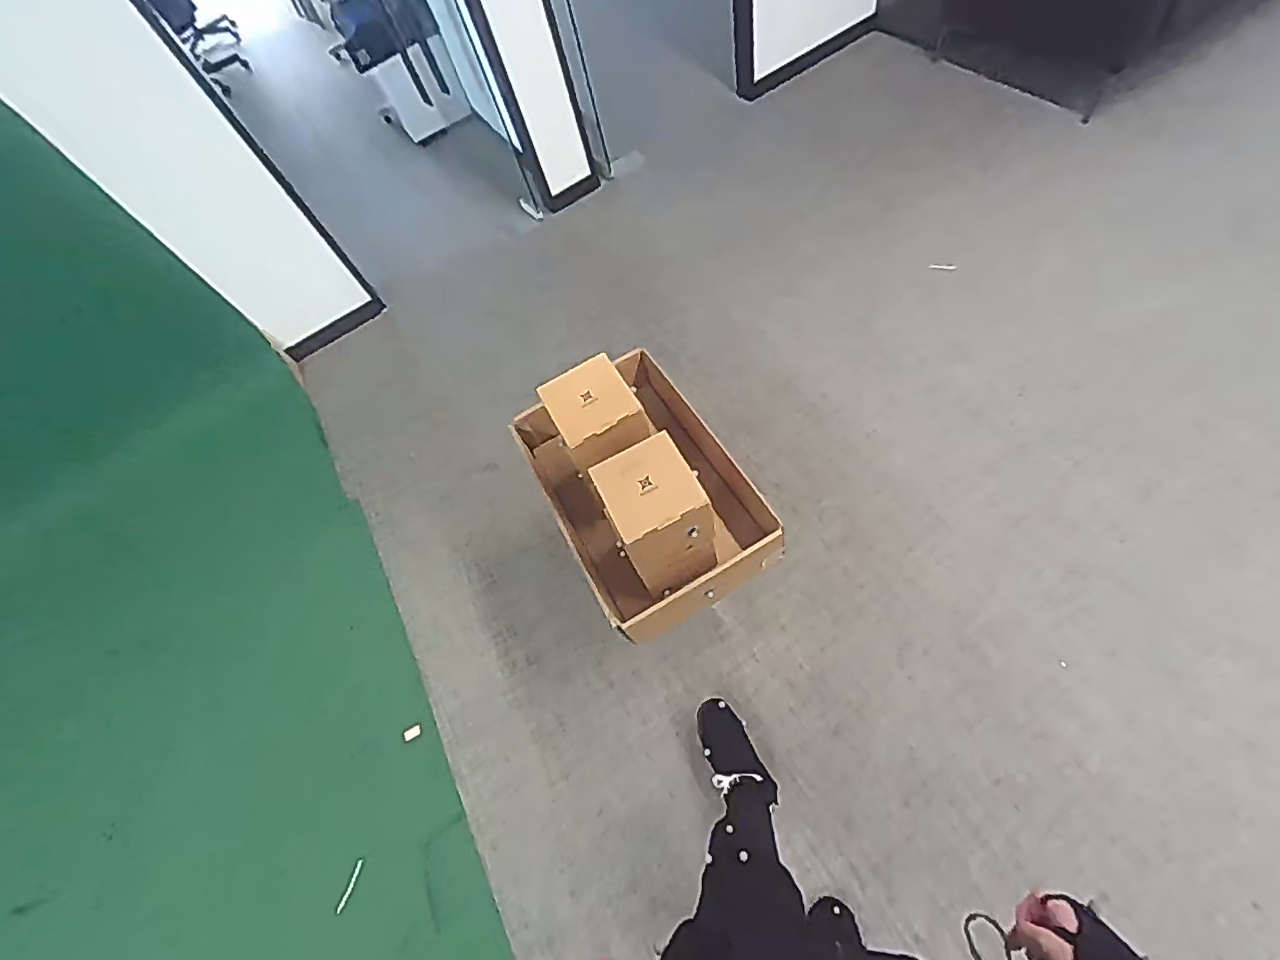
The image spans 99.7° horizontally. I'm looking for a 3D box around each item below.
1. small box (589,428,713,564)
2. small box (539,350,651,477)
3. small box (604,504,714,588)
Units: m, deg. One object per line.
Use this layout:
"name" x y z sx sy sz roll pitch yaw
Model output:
"small box" 0.027 0.040 1.027 0.168 0.176 0.179 -27 59 -4
"small box" -0.090 -0.134 1.153 0.168 0.176 0.179 -30 61 -5
"small box" 0.046 0.116 1.170 0.168 0.176 0.179 -29 59 -5
